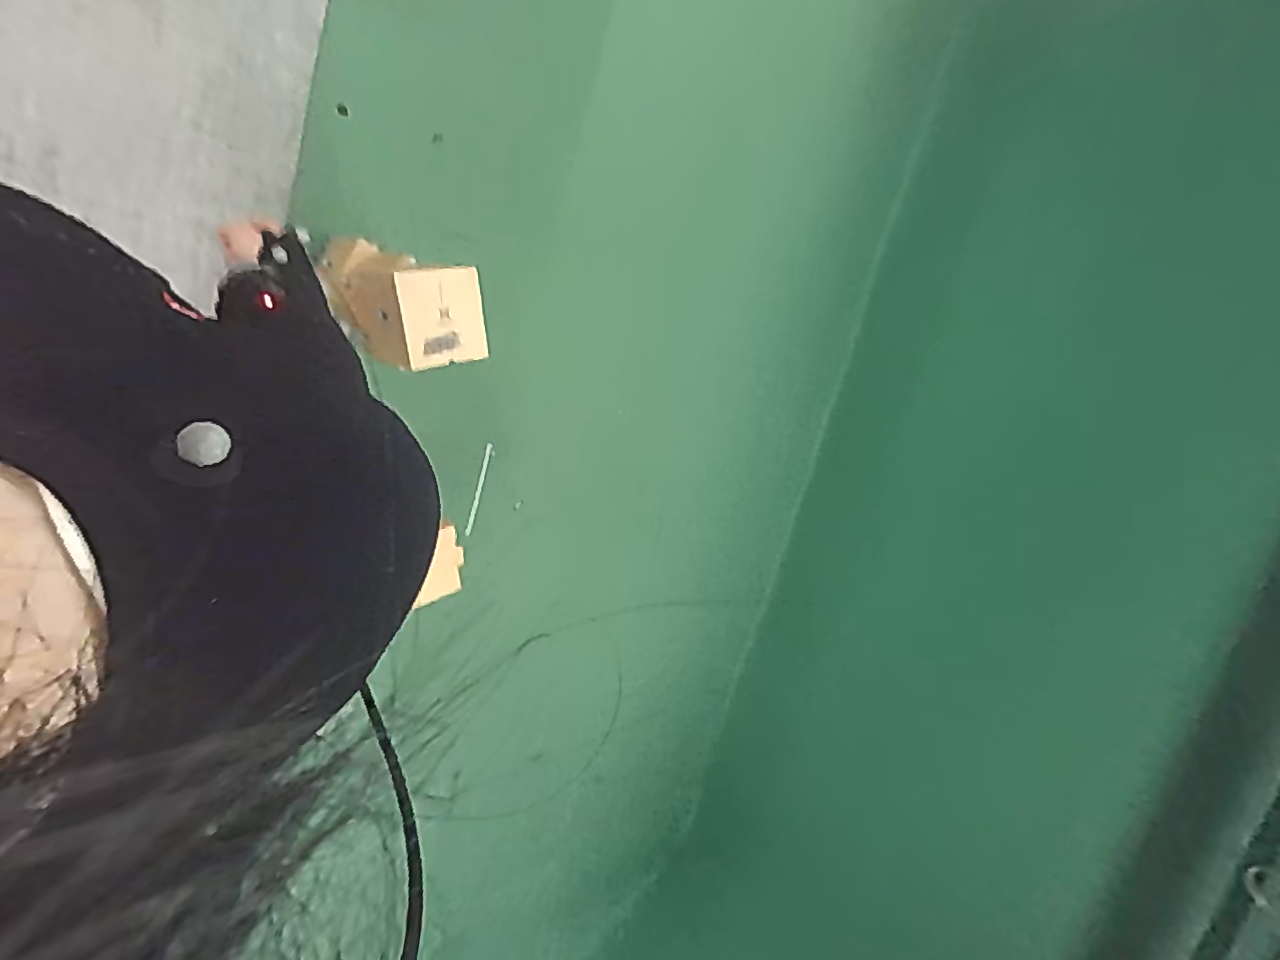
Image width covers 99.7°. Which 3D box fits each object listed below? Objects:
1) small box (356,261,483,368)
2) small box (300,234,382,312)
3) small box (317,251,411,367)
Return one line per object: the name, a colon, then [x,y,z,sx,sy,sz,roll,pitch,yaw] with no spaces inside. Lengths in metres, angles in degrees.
small box: [-0.434,-0.333,1.070,0.168,0.176,0.179,-23,124,-40]
small box: [-0.660,-0.455,1.274,0.179,0.176,0.168,32,84,-52]
small box: [-0.555,-0.375,1.174,0.168,0.176,0.179,-49,138,-19]
